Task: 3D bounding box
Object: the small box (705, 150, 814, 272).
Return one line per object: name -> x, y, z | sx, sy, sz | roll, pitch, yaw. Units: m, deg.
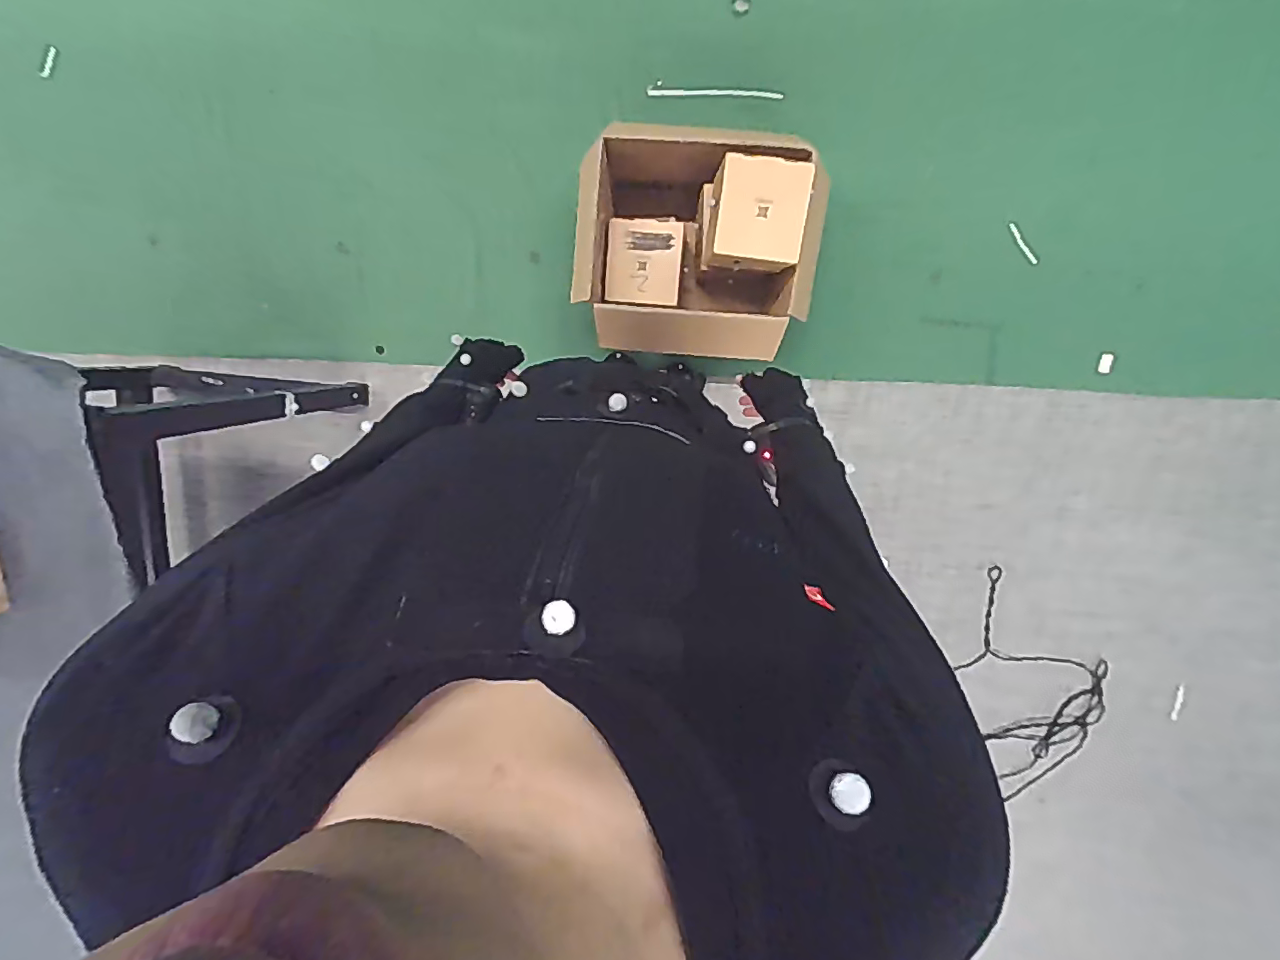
small box -> 0.226, -0.519, 1.070 | 0.168, 0.176, 0.179 | 7, 103, -1
